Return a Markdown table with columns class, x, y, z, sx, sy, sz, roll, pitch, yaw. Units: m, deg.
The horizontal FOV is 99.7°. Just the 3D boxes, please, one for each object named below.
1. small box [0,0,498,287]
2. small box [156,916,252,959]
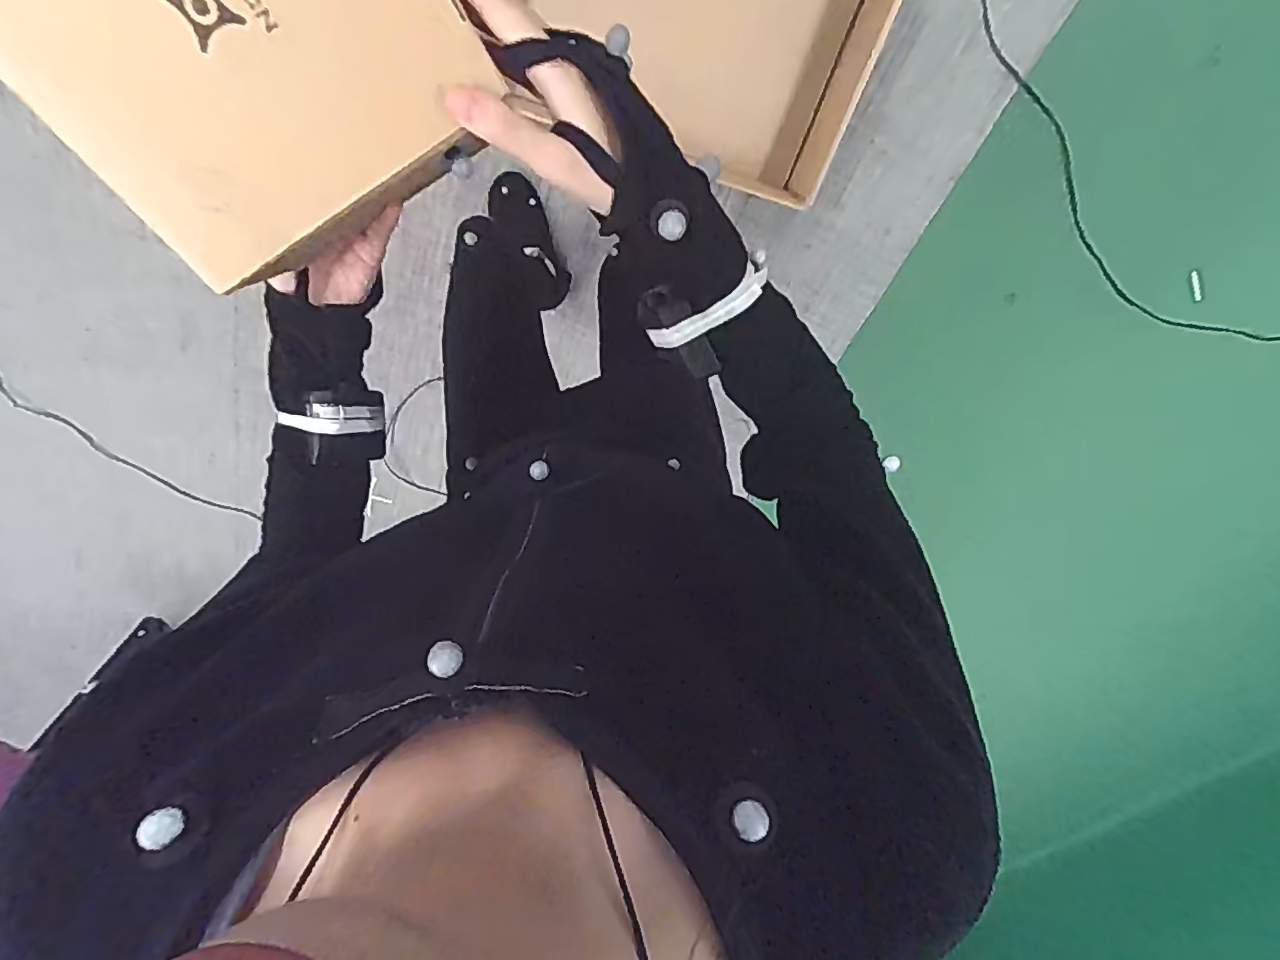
| class | x | y | z | sx | sy | sz | roll | pitch | yaw |
| --- | --- | --- | --- | --- | --- | --- | --- | --- | --- |
| small box | -0.194 | -0.235 | 0.299 | 0.179 | 0.176 | 0.168 | -33 | 121 | 4 |
| small box | -1.147 | 1.269 | 1.406 | 0.168 | 0.176 | 0.179 | 11 | 125 | -11 |
